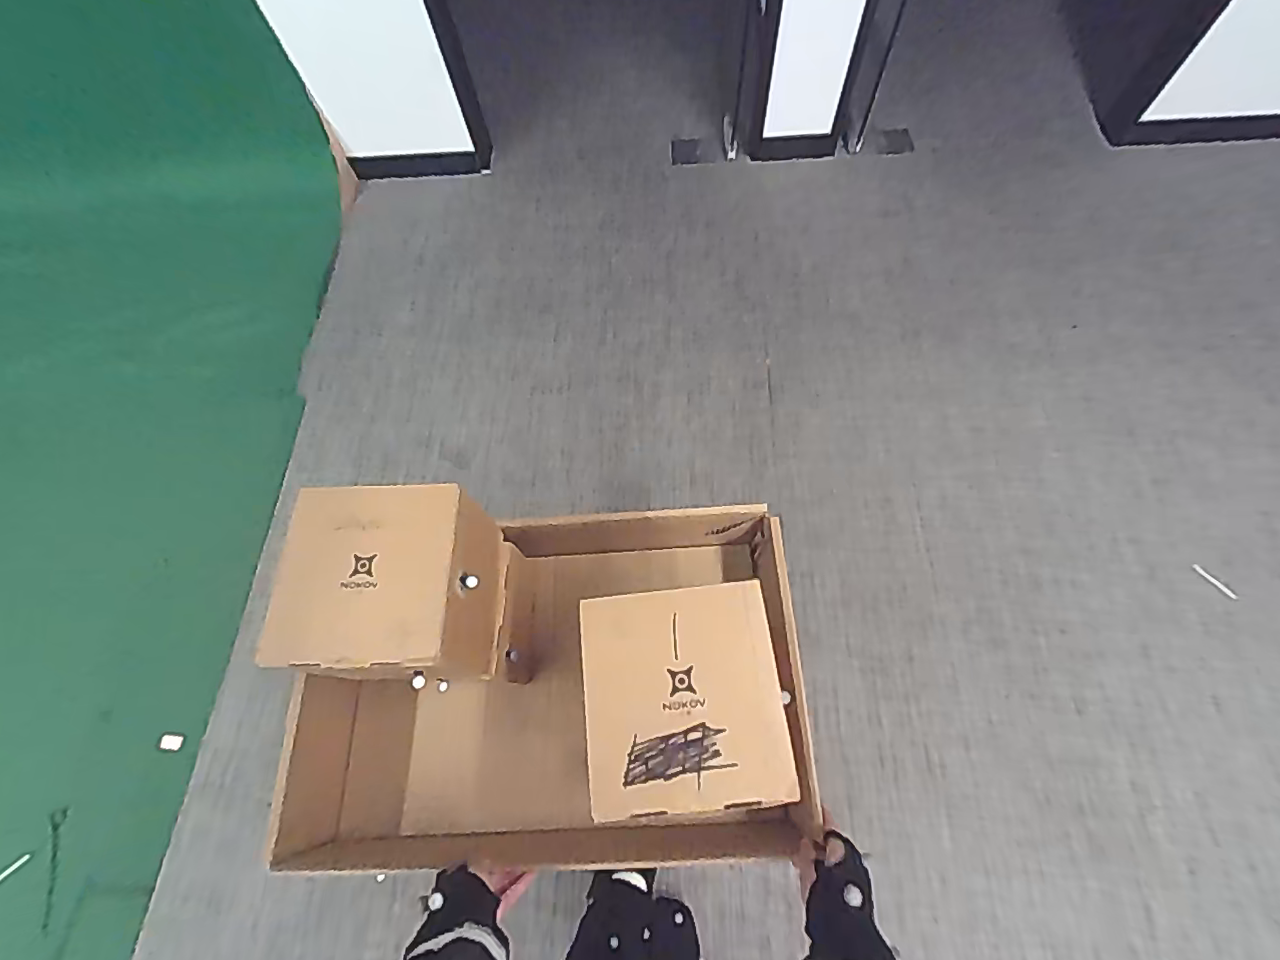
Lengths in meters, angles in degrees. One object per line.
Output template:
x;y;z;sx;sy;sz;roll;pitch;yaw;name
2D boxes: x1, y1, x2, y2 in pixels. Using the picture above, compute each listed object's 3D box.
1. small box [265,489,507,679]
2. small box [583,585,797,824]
-0.251;0.120;0.586;0.168;0.176;0.179;0;67;2;small box
0.041;0.212;0.527;0.168;0.176;0.179;-6;66;1;small box
